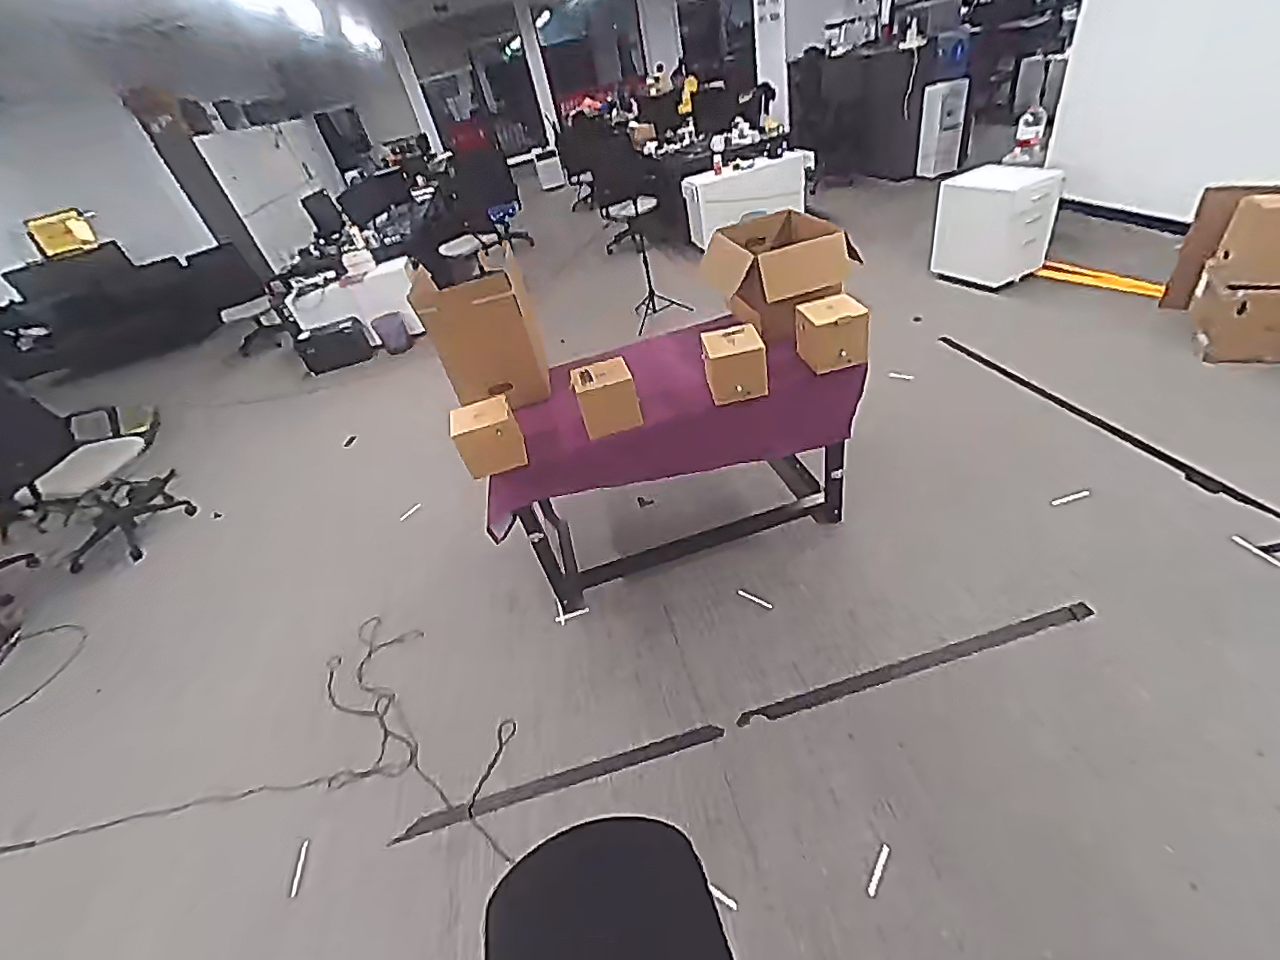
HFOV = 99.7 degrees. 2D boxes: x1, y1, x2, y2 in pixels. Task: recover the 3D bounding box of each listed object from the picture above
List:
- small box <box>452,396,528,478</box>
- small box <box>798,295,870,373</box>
[{"bbox_3d":[-0.457,-0.130,1.655,0.179,0.176,0.168,-18,38,-6],"label":"small box"},{"bbox_3d":[0.611,-0.462,1.716,0.168,0.176,0.179,-15,37,2],"label":"small box"}]
